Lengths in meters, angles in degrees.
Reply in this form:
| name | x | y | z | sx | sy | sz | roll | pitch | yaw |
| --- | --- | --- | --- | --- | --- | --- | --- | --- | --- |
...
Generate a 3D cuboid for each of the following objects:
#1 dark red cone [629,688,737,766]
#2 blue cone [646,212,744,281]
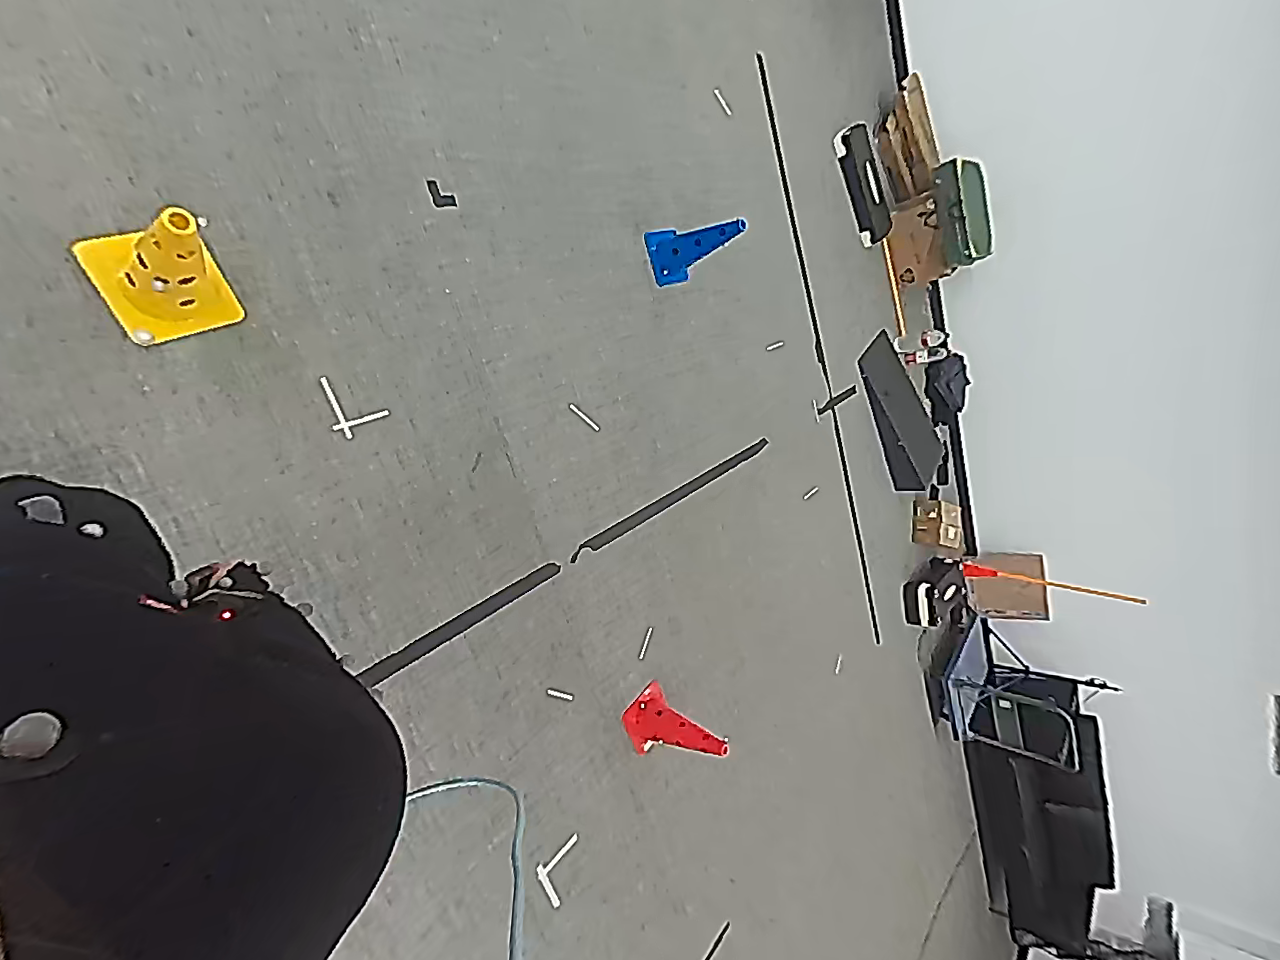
| name | x | y | z | sx | sy | sz | roll | pitch | yaw |
| --- | --- | --- | --- | --- | --- | --- | --- | --- | --- |
| dark red cone | 0.163 | 0.879 | 1.834 | 0.202 | 0.394 | 0.201 | -38 | 114 | -38 |
| blue cone | 0.219 | -0.876 | 1.967 | 0.193 | 0.380 | 0.192 | -28 | 107 | -41 |
